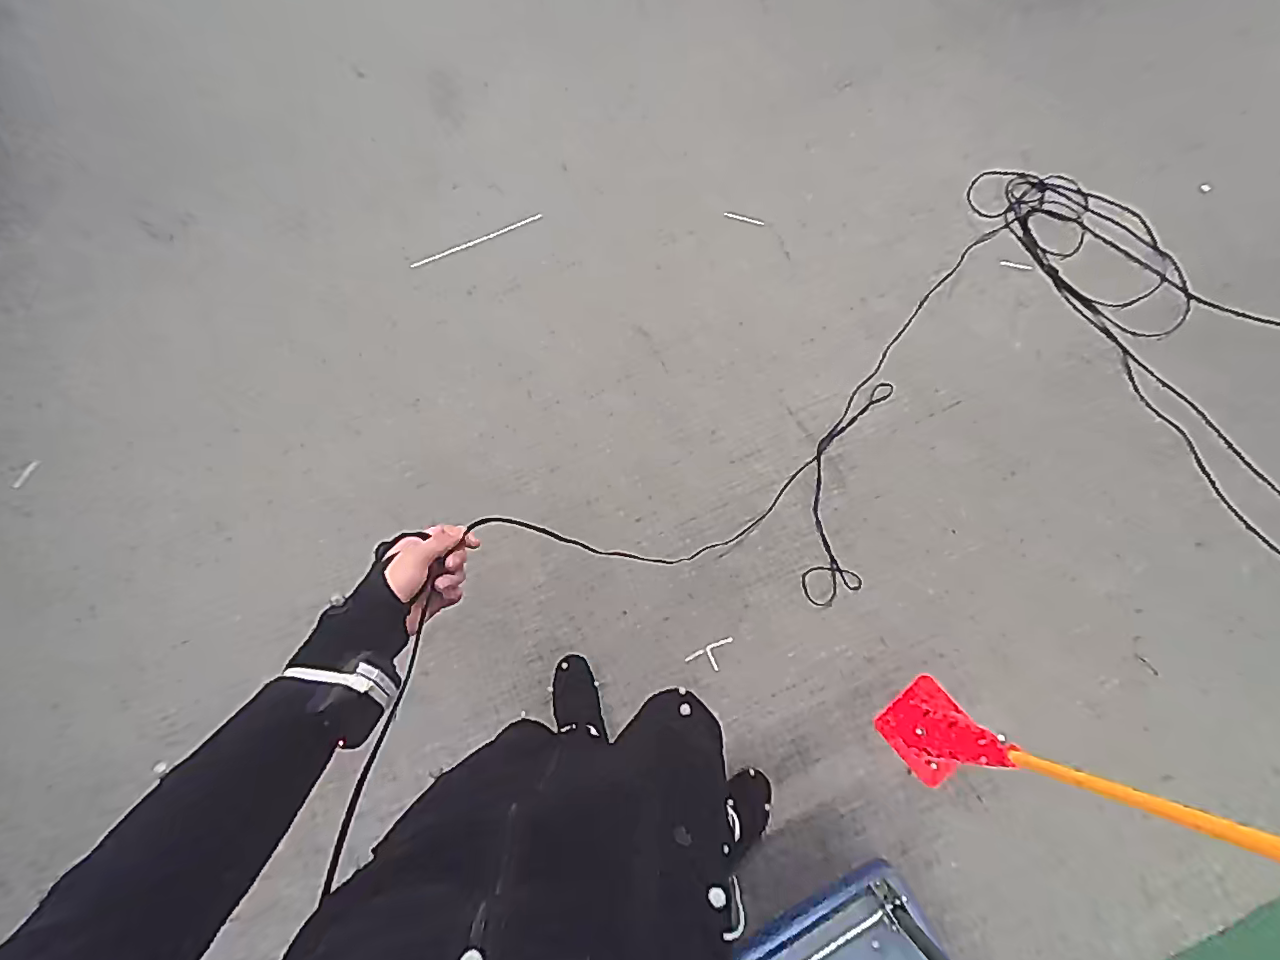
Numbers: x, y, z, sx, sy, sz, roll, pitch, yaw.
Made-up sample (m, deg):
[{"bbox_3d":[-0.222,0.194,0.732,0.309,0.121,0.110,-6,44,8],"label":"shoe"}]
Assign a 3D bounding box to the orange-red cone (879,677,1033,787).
[{"bbox_3d":[0.716,0.569,1.173,0.199,0.360,0.198,-37,76,-10],"label":"orange-red cone"}]
